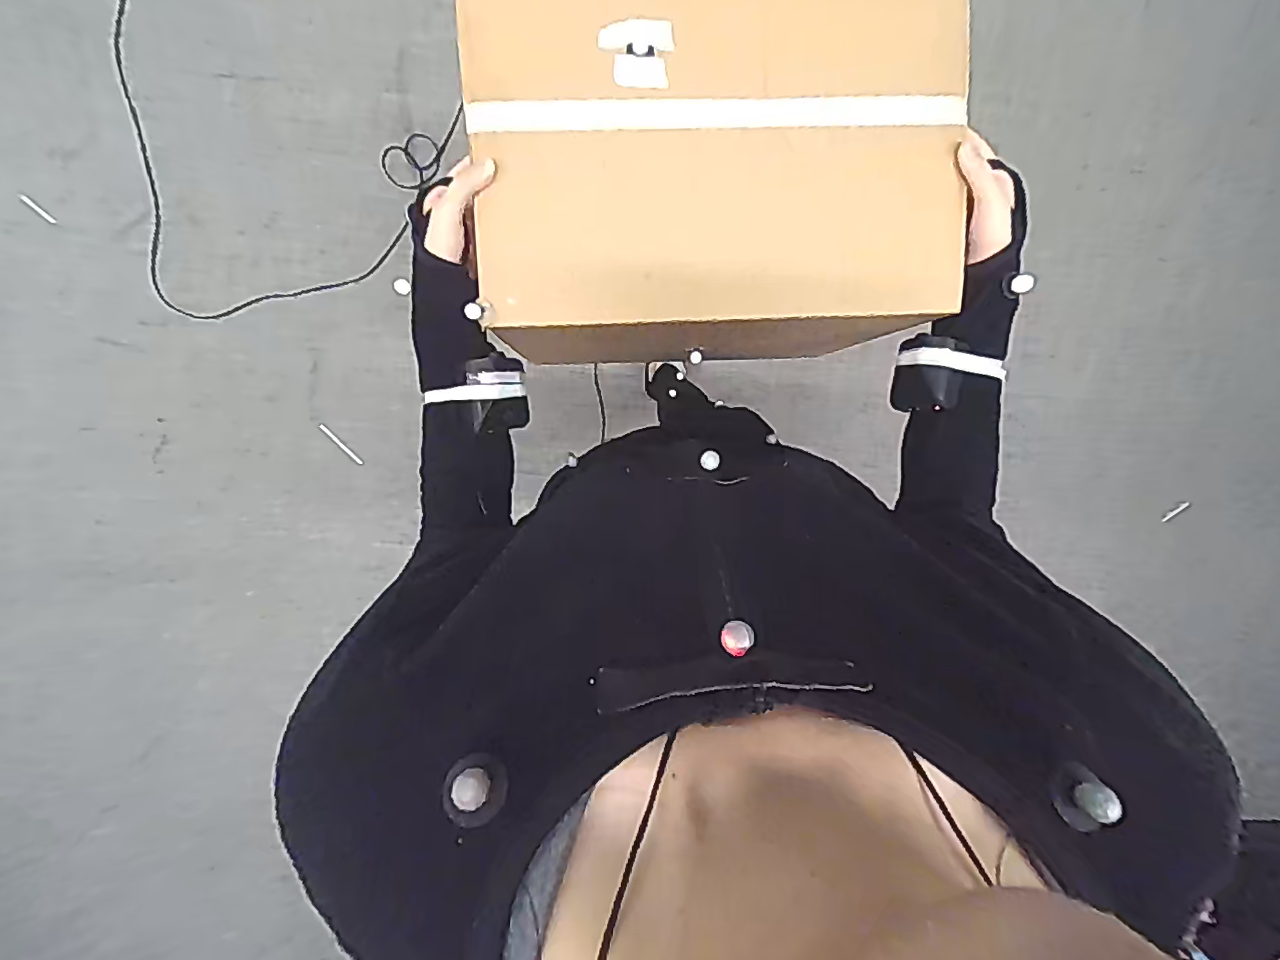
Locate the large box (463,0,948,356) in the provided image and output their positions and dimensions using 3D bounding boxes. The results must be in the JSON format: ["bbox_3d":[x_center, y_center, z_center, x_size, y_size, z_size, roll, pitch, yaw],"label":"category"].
[{"bbox_3d":[0.054,-0.311,0.597,0.408,0.320,0.320,-2,96,-3],"label":"large box"}]
